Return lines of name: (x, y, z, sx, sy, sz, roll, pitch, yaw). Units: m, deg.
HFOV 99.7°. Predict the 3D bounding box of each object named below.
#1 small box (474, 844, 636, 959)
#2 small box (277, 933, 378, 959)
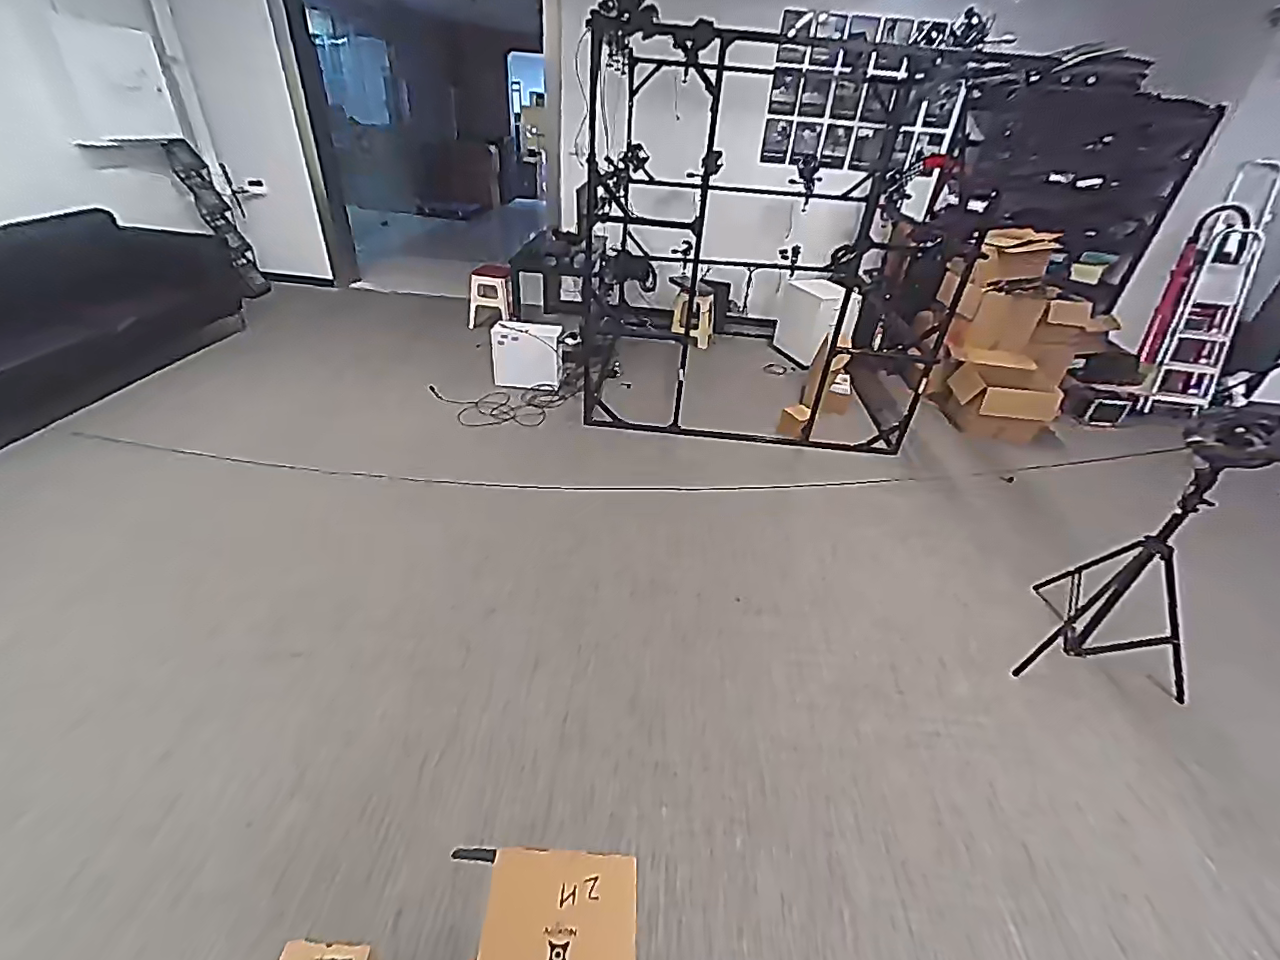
small box: (-0.101, 0.548, 0.611, 0.168, 0.176, 0.179, 9, 35, -6)
small box: (-0.608, 0.998, 1.016, 0.168, 0.176, 0.179, 5, 35, 1)
